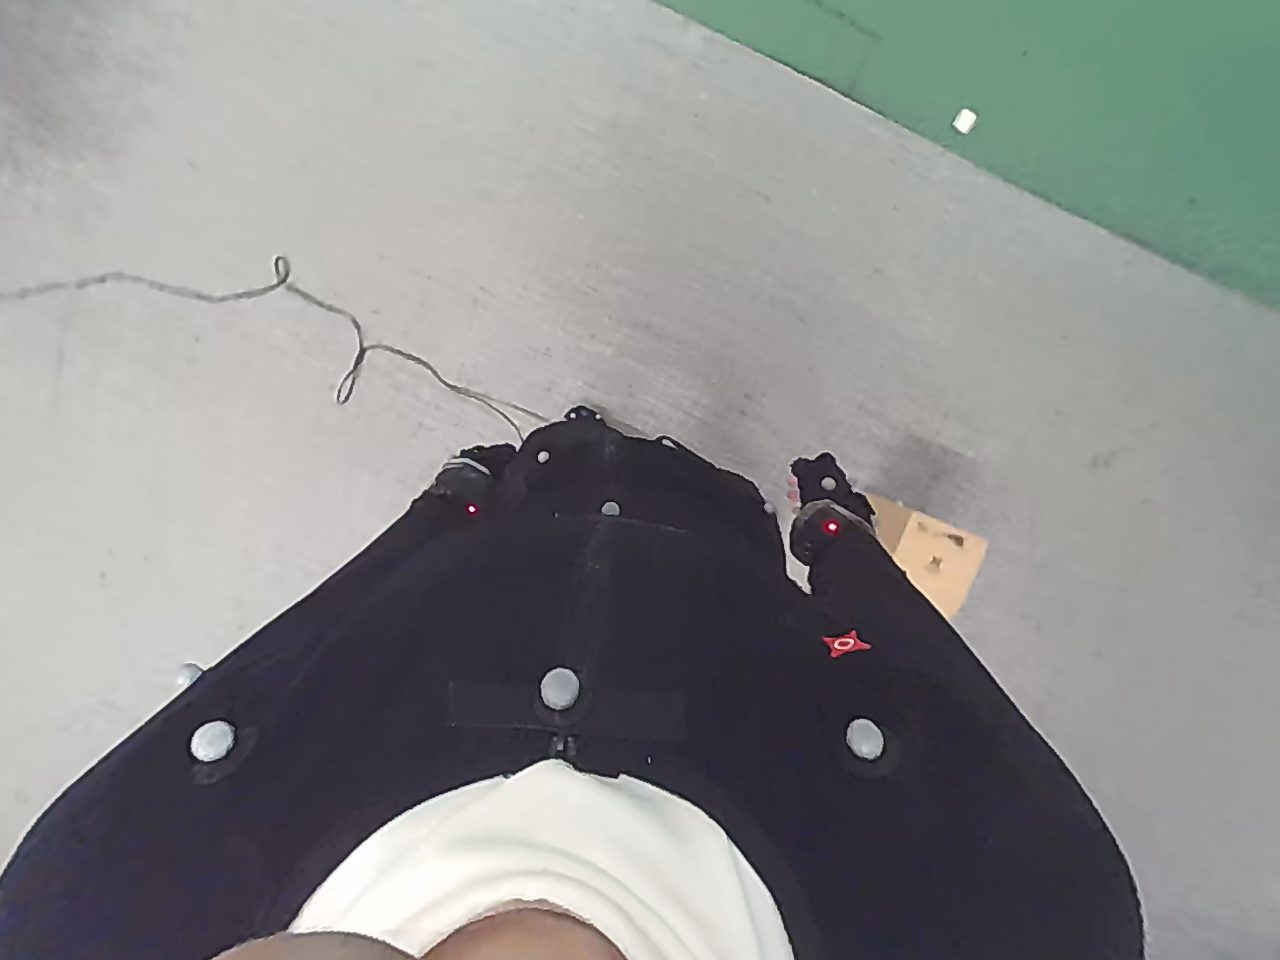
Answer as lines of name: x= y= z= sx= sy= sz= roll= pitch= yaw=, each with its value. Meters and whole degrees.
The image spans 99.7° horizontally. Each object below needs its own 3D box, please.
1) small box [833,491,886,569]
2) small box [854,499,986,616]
small box: x=0.596 y=0.144 z=1.326 sx=0.168 sy=0.176 sz=0.179 roll=25 pitch=96 yaw=-1
small box: x=0.586 y=0.158 z=1.163 sx=0.168 sy=0.176 sz=0.179 roll=23 pitch=97 yaw=0
